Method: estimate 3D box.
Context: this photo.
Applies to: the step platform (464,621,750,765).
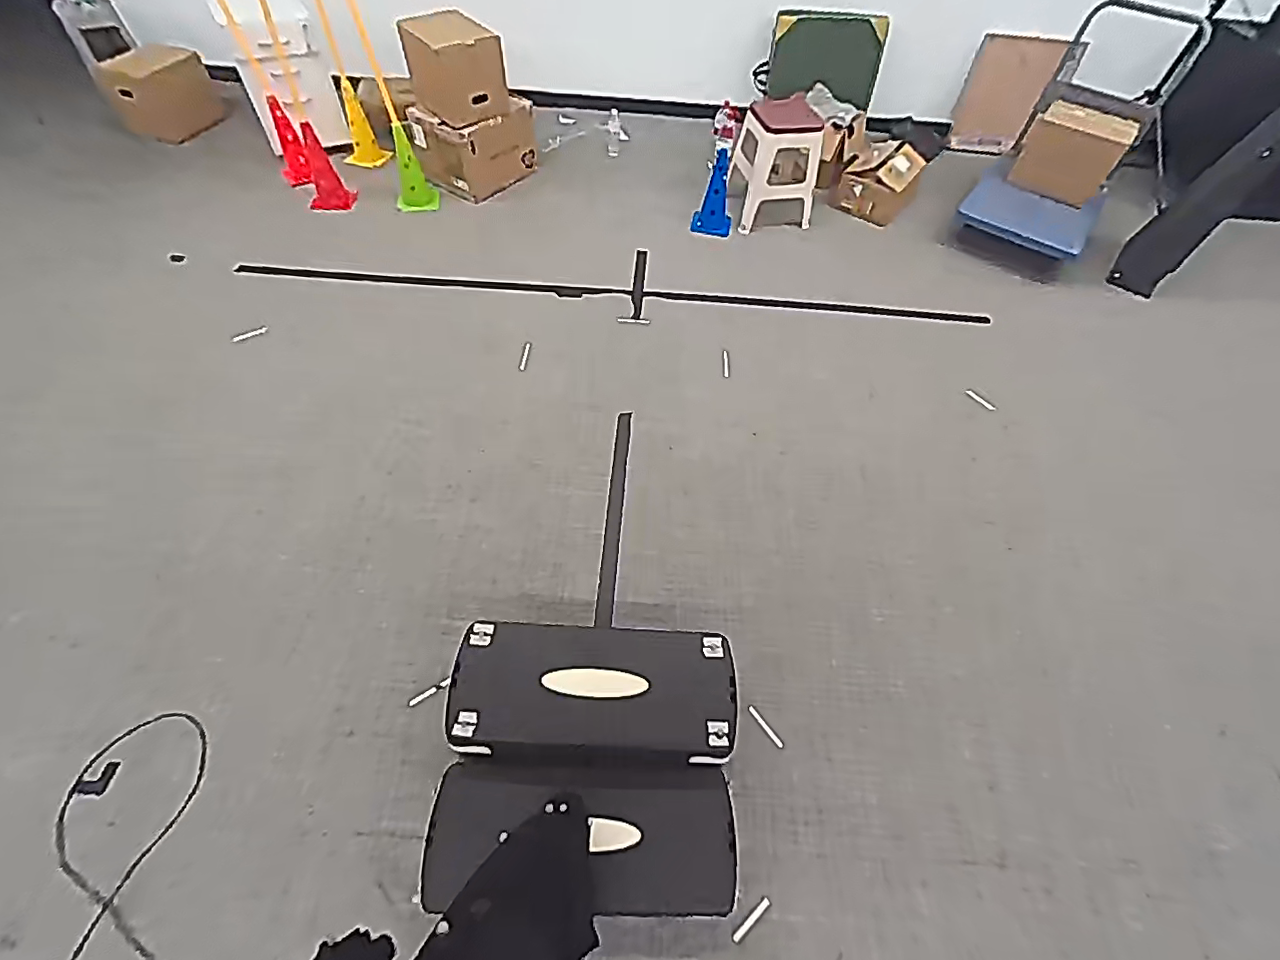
[{"bbox_3d":[-0.076,0.523,1.337,0.684,0.204,0.286,4,55,-3],"label":"step platform"}]
